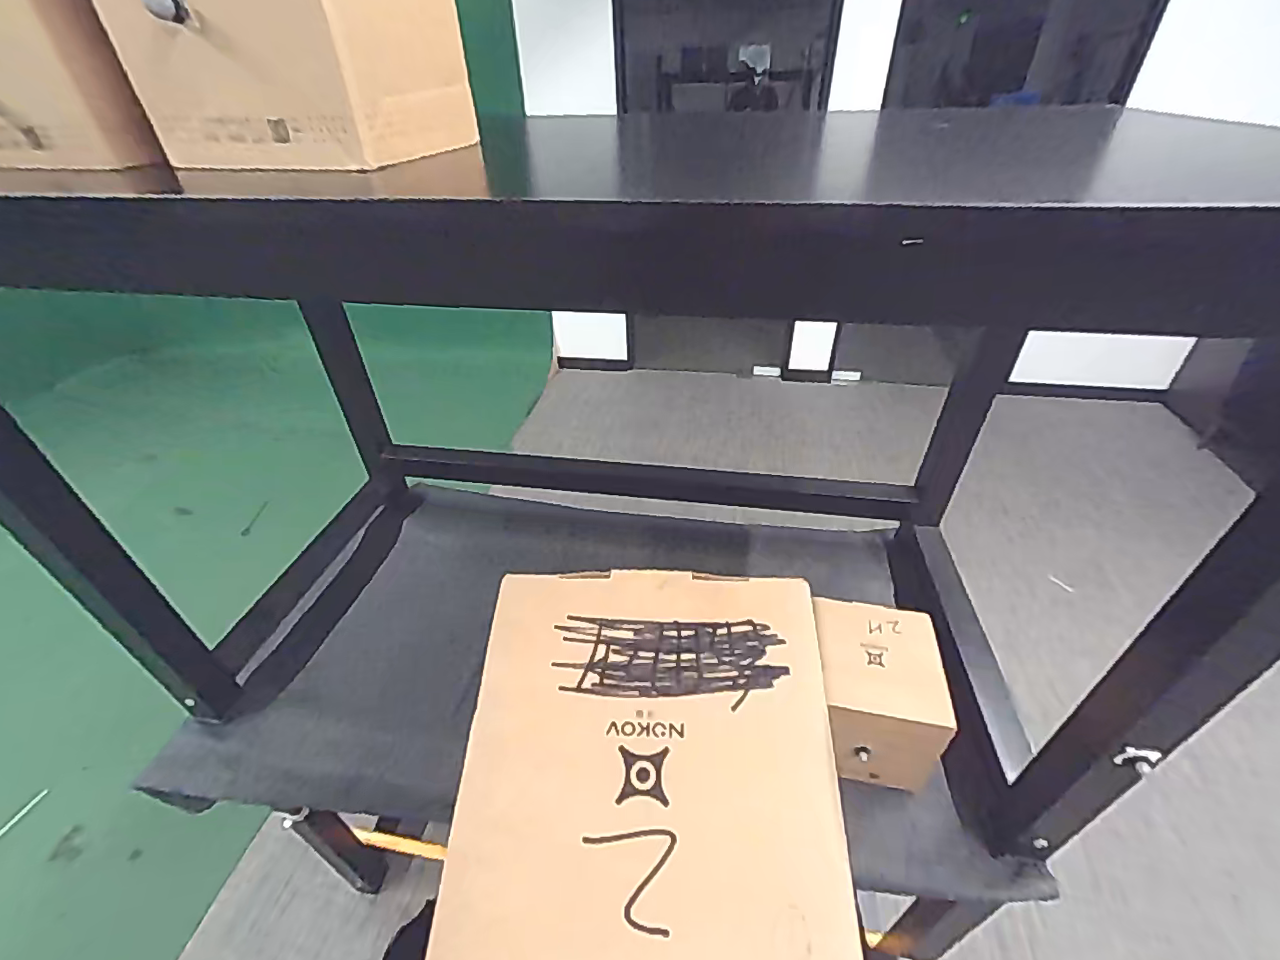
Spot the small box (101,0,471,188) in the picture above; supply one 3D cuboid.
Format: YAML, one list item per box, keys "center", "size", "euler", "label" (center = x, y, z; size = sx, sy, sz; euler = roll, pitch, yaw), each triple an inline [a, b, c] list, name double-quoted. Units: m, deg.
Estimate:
- center: [-0.248, -0.326, 0.408]
  size: [0.168, 0.176, 0.179]
  euler: [6, 37, 11]
  label: "small box"

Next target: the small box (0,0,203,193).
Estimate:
- center: [-0.443, -0.342, 0.433]
  size: [0.168, 0.176, 0.179]
  euler: [6, 39, 10]
  label: "small box"

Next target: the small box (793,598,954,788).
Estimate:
- center: [0.313, 0.298, 0.761]
  size: [0.168, 0.176, 0.179]
  euler: [7, 37, 11]
  label: "small box"
